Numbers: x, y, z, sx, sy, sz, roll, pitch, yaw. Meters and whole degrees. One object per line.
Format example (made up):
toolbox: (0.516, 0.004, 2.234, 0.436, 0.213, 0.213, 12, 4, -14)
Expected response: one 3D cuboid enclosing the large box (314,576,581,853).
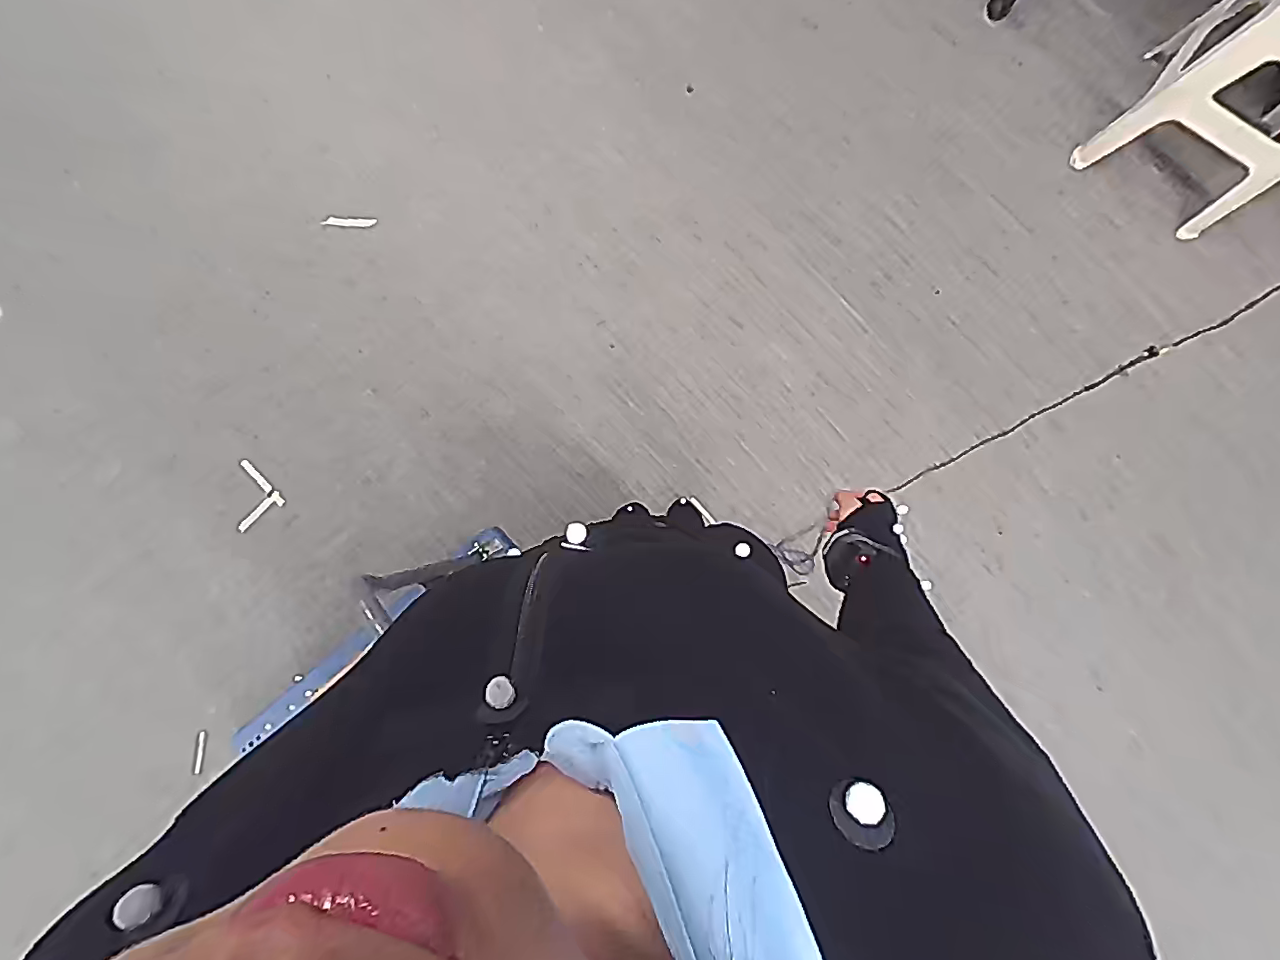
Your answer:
large box: (-0.390, 0.480, 1.194, 0.320, 0.320, 0.408, -39, 87, 1)
